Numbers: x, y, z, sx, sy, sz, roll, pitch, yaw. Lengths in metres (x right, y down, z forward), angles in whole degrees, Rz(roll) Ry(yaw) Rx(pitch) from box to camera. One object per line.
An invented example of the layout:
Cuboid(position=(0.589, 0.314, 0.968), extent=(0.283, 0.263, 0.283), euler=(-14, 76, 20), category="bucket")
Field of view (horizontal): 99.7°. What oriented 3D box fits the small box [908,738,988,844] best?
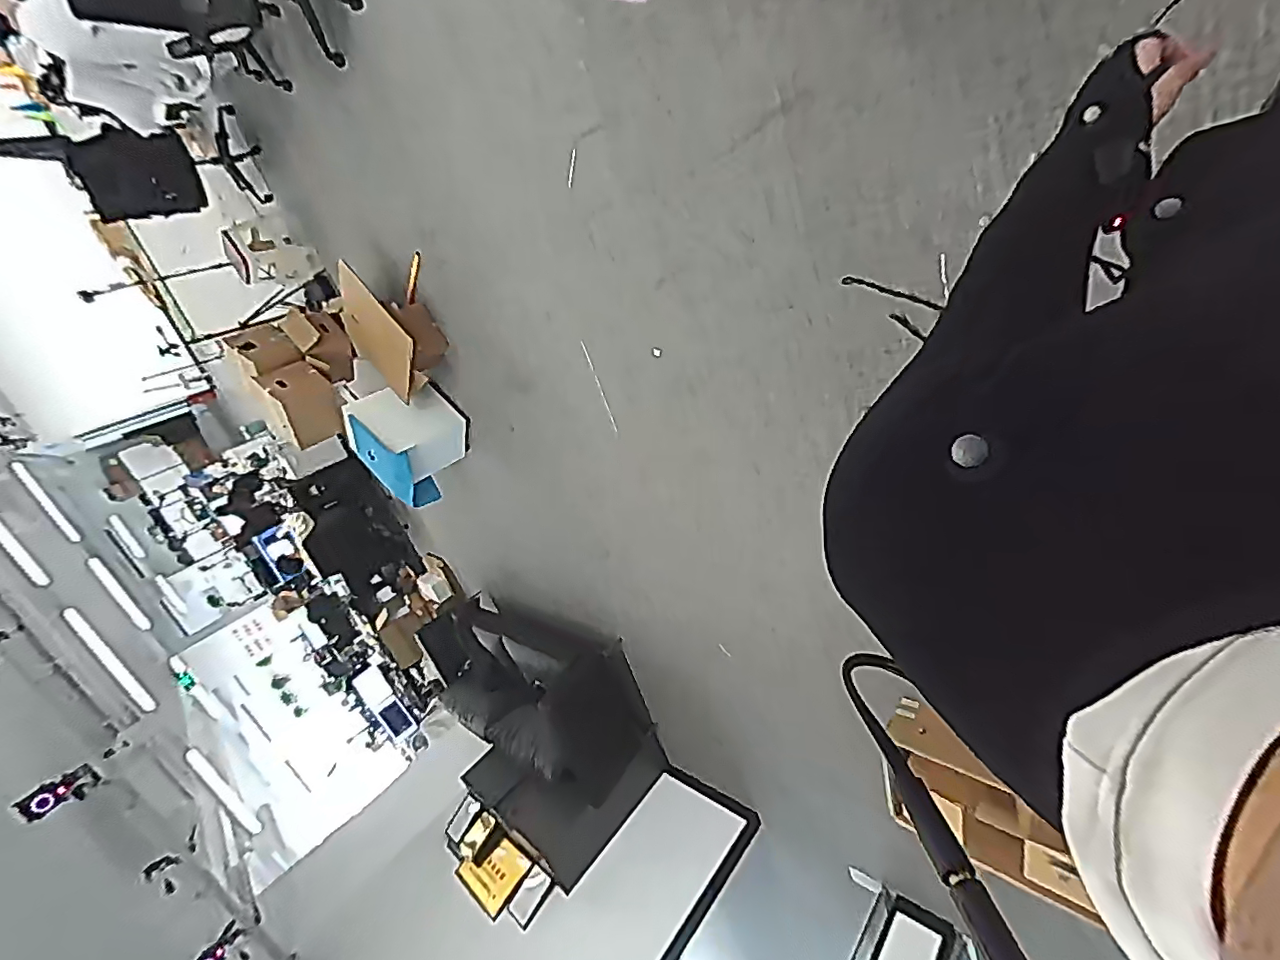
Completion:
Cuboid(position=(0.918, 0.916, 1.605), extent=(0.168, 0.176, 0.179), euler=(9, 123, 46), category="small box")
